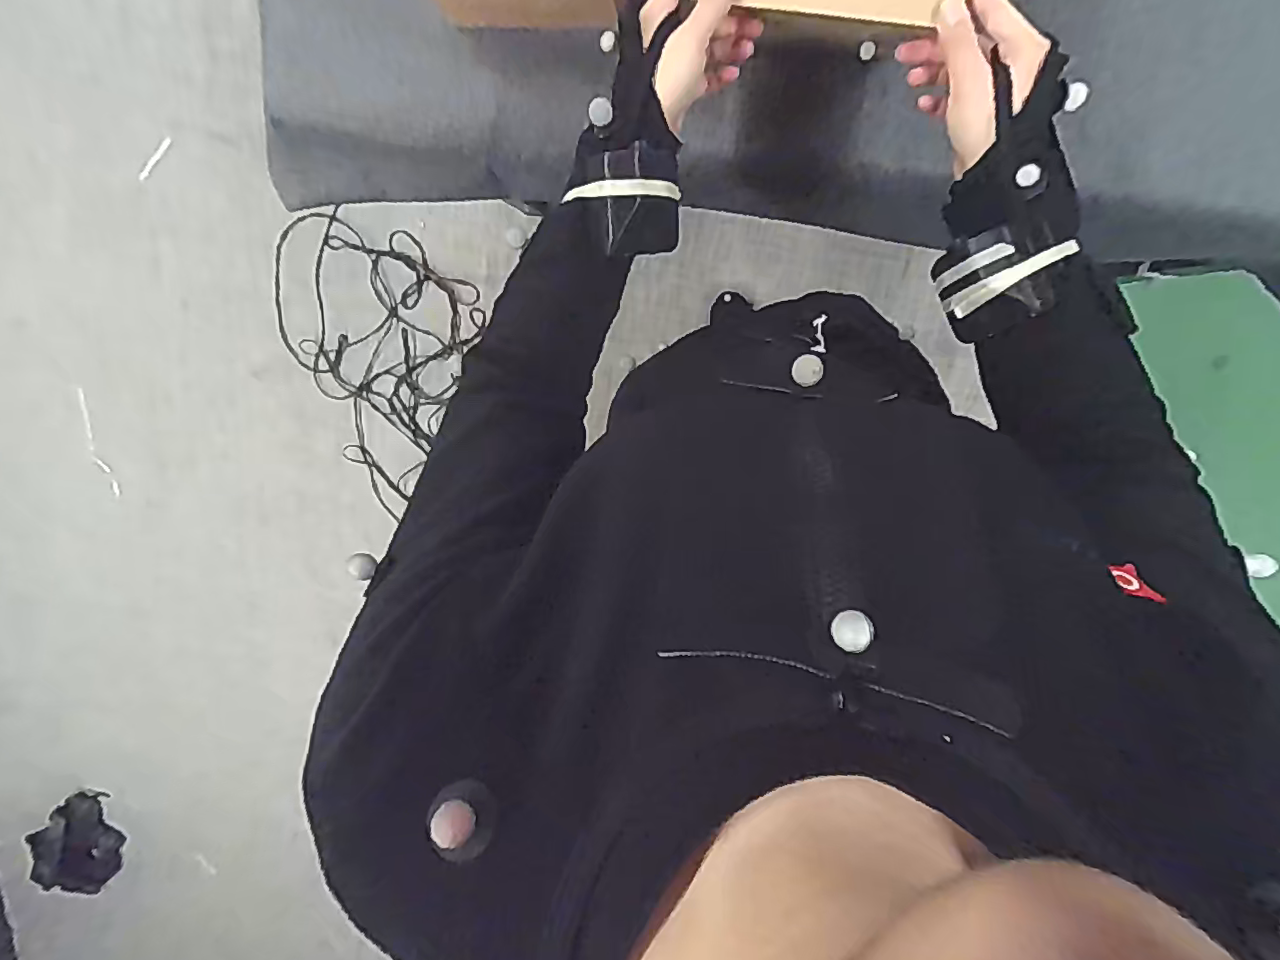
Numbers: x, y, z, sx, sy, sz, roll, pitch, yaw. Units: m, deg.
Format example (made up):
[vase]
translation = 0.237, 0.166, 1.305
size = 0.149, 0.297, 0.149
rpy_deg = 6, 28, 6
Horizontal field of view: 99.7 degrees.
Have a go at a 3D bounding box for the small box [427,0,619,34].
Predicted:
[small box]
translation = -0.104, -0.482, 0.415
size = 0.179, 0.176, 0.168
rpy_deg = 6, 105, 8
